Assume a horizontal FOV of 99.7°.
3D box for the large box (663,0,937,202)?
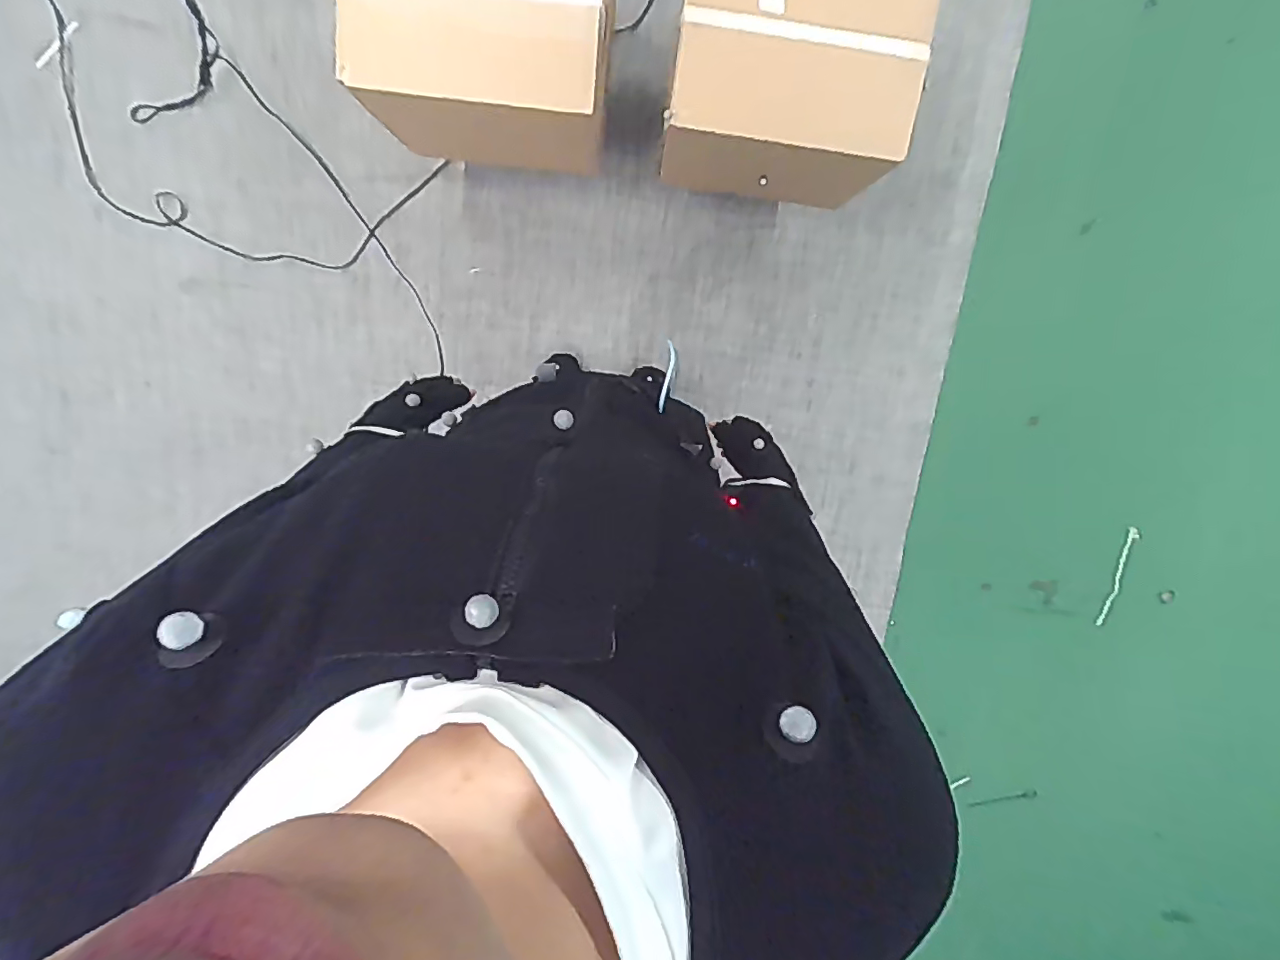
[{"bbox_3d":[0.269,-0.749,1.022,0.408,0.320,0.320,8,103,-3],"label":"large box"}]
